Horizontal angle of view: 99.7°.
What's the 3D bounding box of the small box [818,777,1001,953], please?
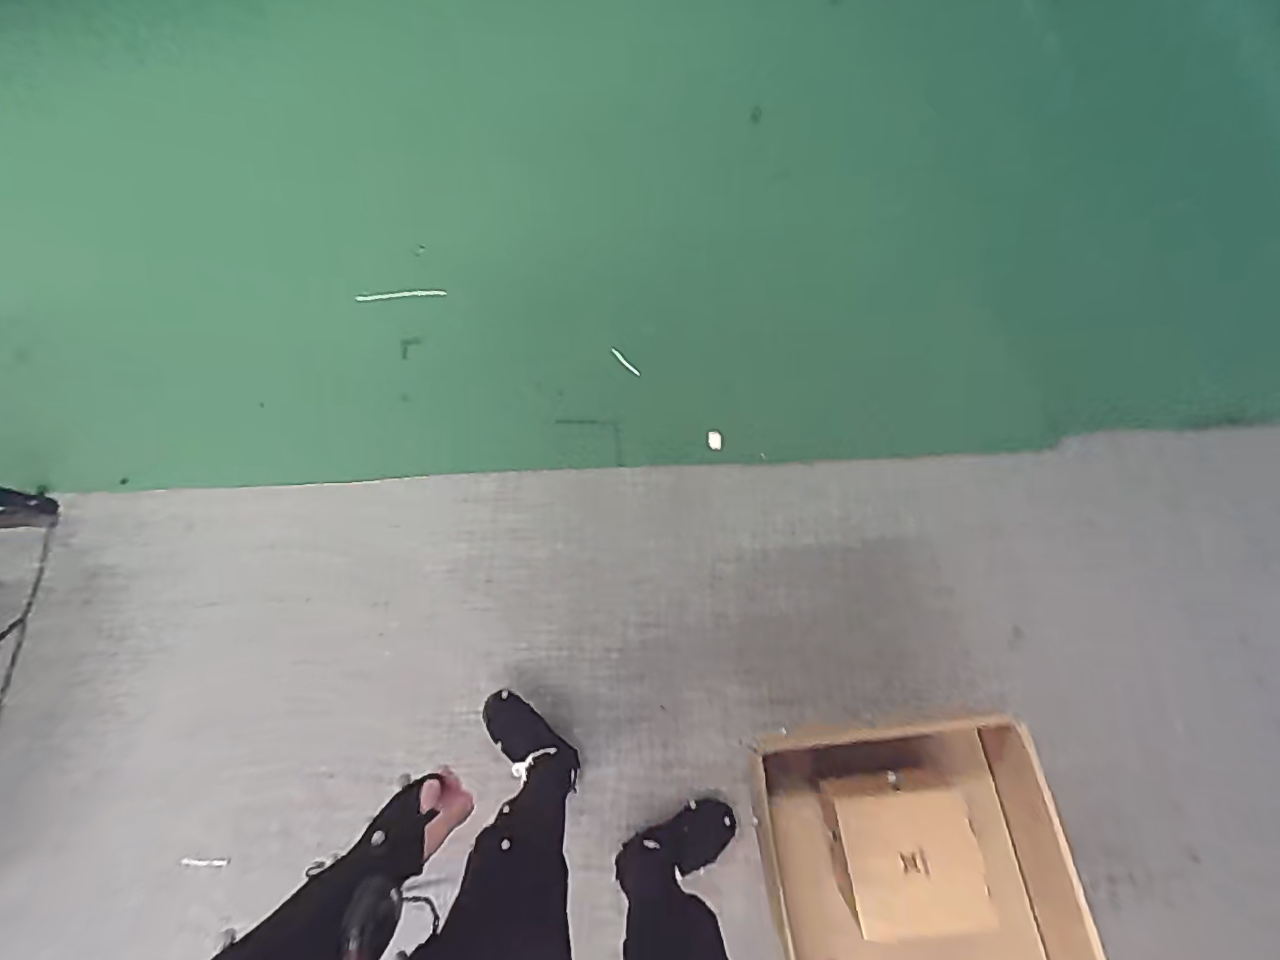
[{"bbox_3d":[0.369,0.543,0.784,0.179,0.176,0.168,-8,70,3],"label":"small box"}]
